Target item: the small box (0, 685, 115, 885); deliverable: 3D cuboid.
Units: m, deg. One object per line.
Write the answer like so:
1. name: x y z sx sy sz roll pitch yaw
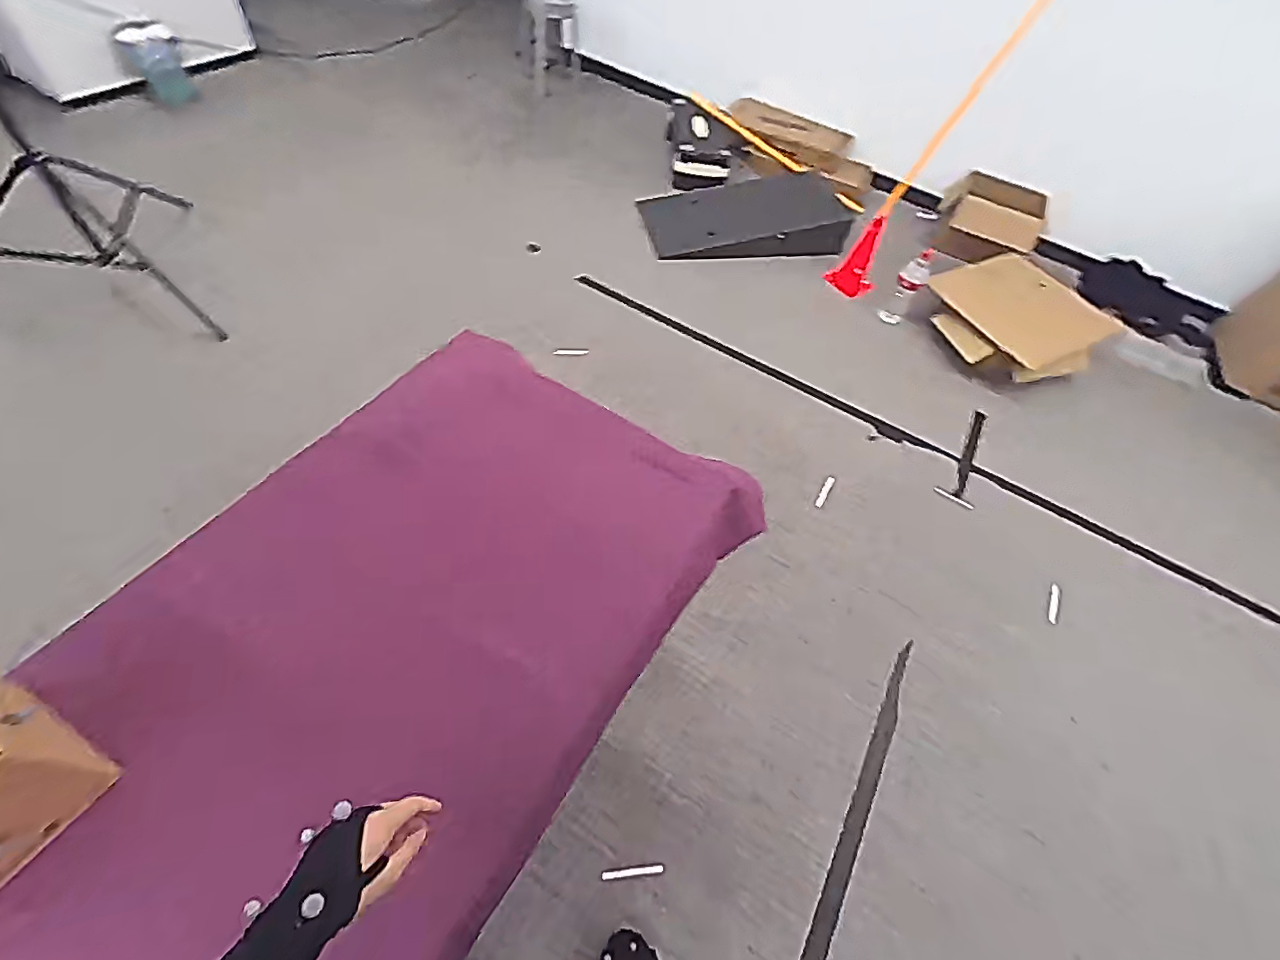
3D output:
1. small box: -0.673 0.296 0.508 0.179 0.176 0.168 30 56 9
